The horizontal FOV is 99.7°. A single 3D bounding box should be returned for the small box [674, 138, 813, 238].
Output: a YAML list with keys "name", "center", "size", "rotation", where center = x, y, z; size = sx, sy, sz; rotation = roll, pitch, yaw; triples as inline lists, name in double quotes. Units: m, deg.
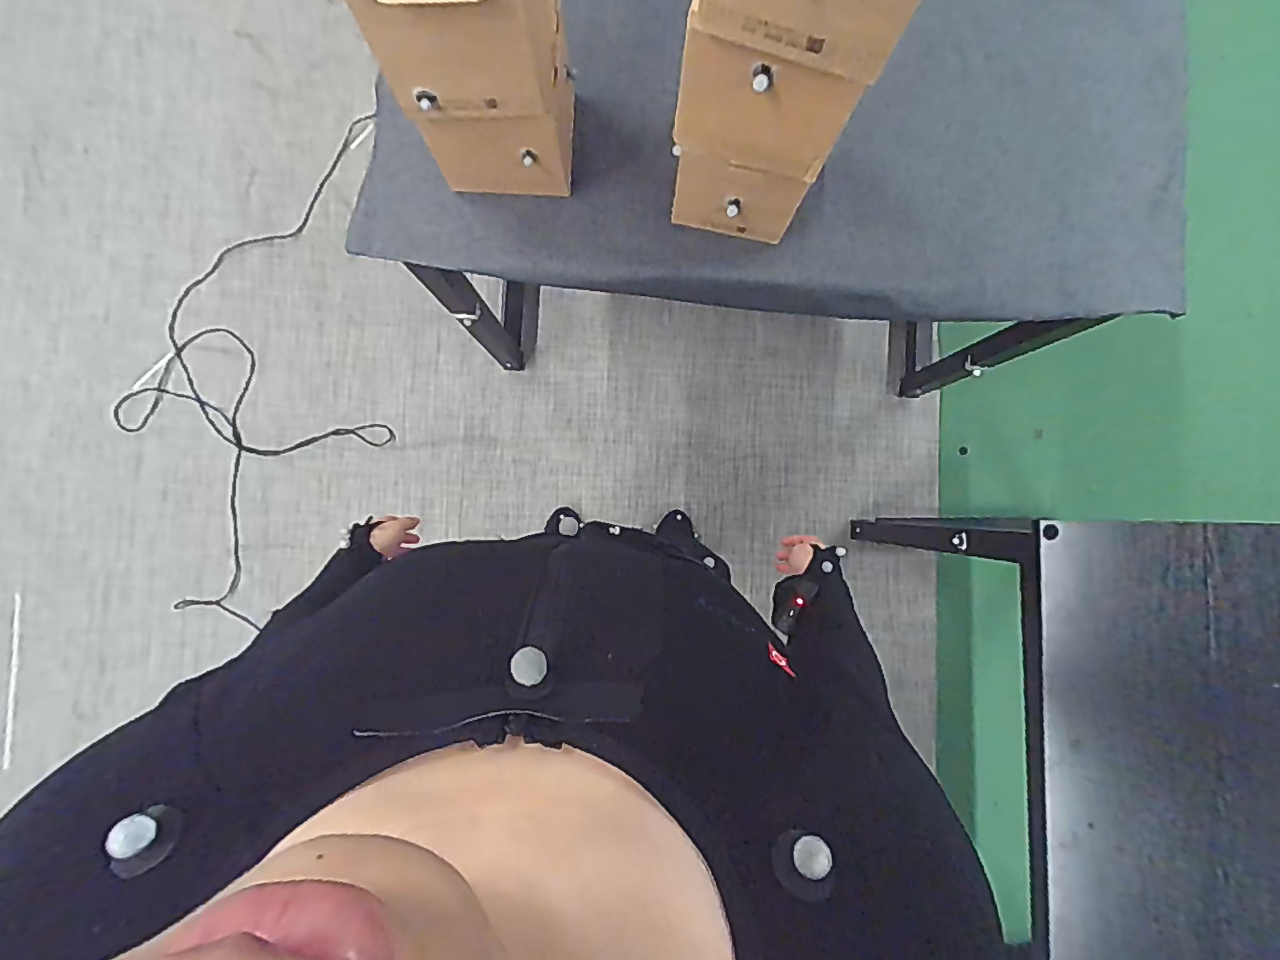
- name: "small box"
  center: [0.141, -0.453, 0.721]
  size: [0.168, 0.176, 0.179]
  rotation: [12, 87, 1]

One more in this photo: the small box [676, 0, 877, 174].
- name: "small box"
  center: [0.145, -0.454, 0.558]
  size: [0.179, 0.176, 0.168]
  rotation: [17, 86, 2]

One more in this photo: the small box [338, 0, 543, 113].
- name: "small box"
  center: [-0.196, -0.516, 0.559]
  size: [0.168, 0.176, 0.179]
  rotation: [-3, 84, -1]

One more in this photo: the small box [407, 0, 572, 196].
- name: "small box"
  center: [-0.187, -0.506, 0.724]
  size: [0.179, 0.176, 0.168]
  rotation: [1, 85, 0]

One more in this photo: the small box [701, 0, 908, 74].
- name: "small box"
  center: [0.146, -0.452, 0.392]
  size: [0.168, 0.176, 0.179]
  rotation: [18, 86, 1]
